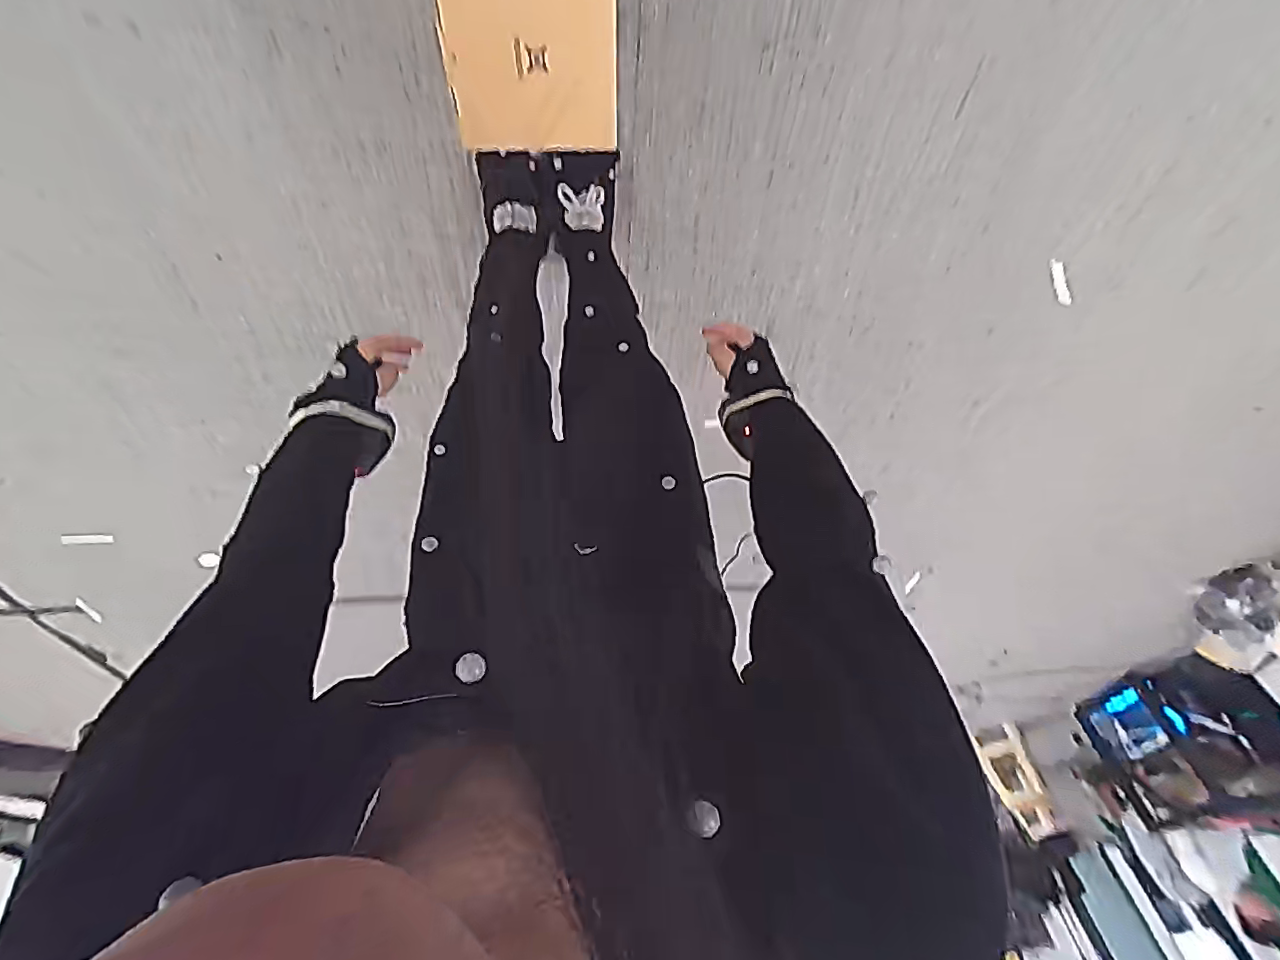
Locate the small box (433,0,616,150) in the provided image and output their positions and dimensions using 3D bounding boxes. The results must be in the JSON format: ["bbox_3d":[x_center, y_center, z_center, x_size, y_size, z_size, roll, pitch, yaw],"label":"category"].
[{"bbox_3d":[-0.121,-0.490,0.610,0.179,0.176,0.168,-3,136,-5],"label":"small box"}]
